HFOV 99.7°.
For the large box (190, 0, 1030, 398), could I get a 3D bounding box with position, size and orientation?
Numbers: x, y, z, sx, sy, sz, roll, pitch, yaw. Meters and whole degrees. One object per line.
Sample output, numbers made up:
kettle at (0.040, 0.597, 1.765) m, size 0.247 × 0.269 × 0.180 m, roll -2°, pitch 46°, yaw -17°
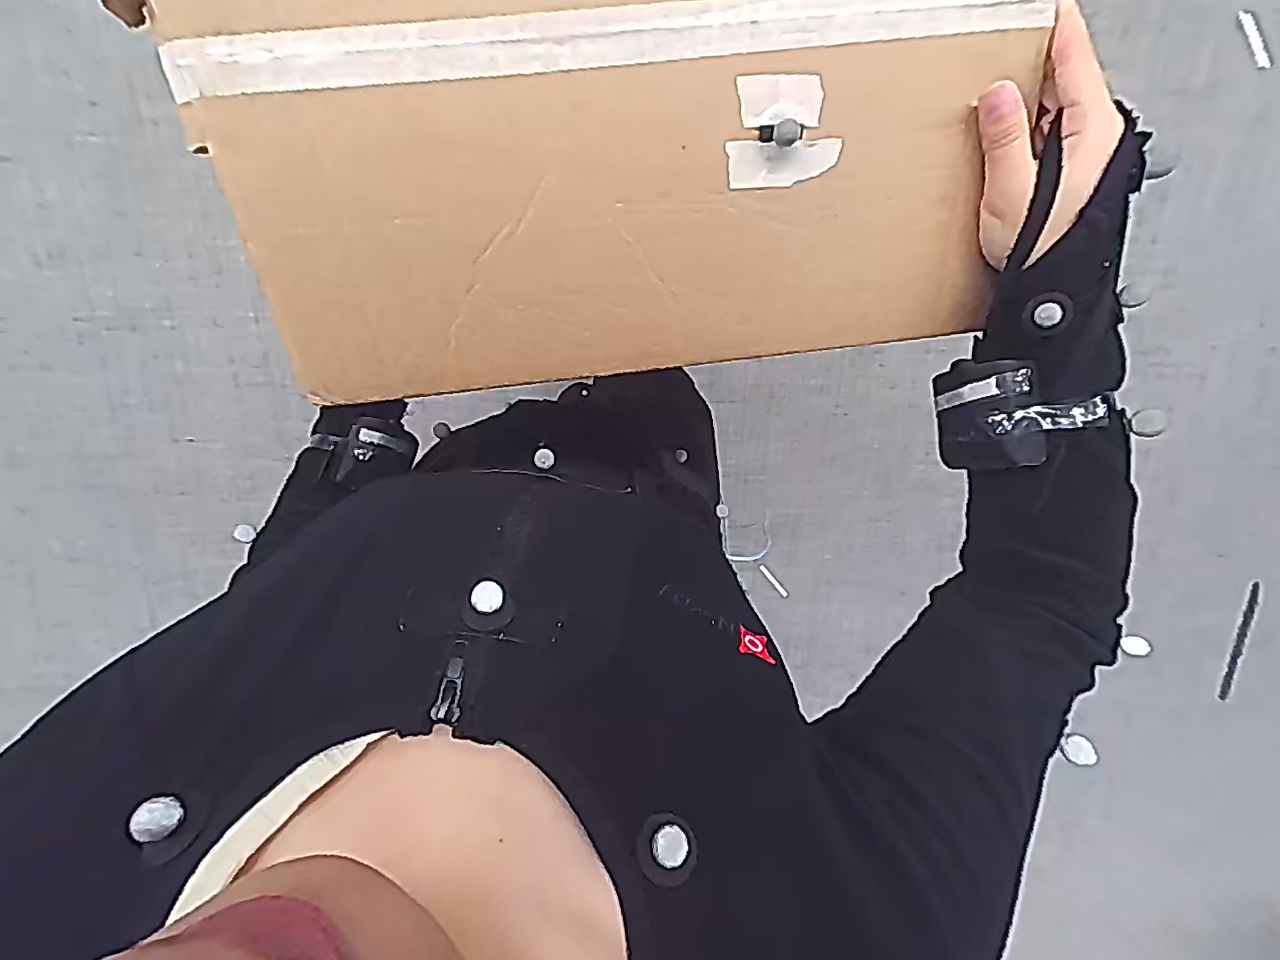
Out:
large box at (-0.019, -0.275, 0.395) m, size 0.408 × 0.320 × 0.320 m, roll -8°, pitch 117°, yaw -4°
